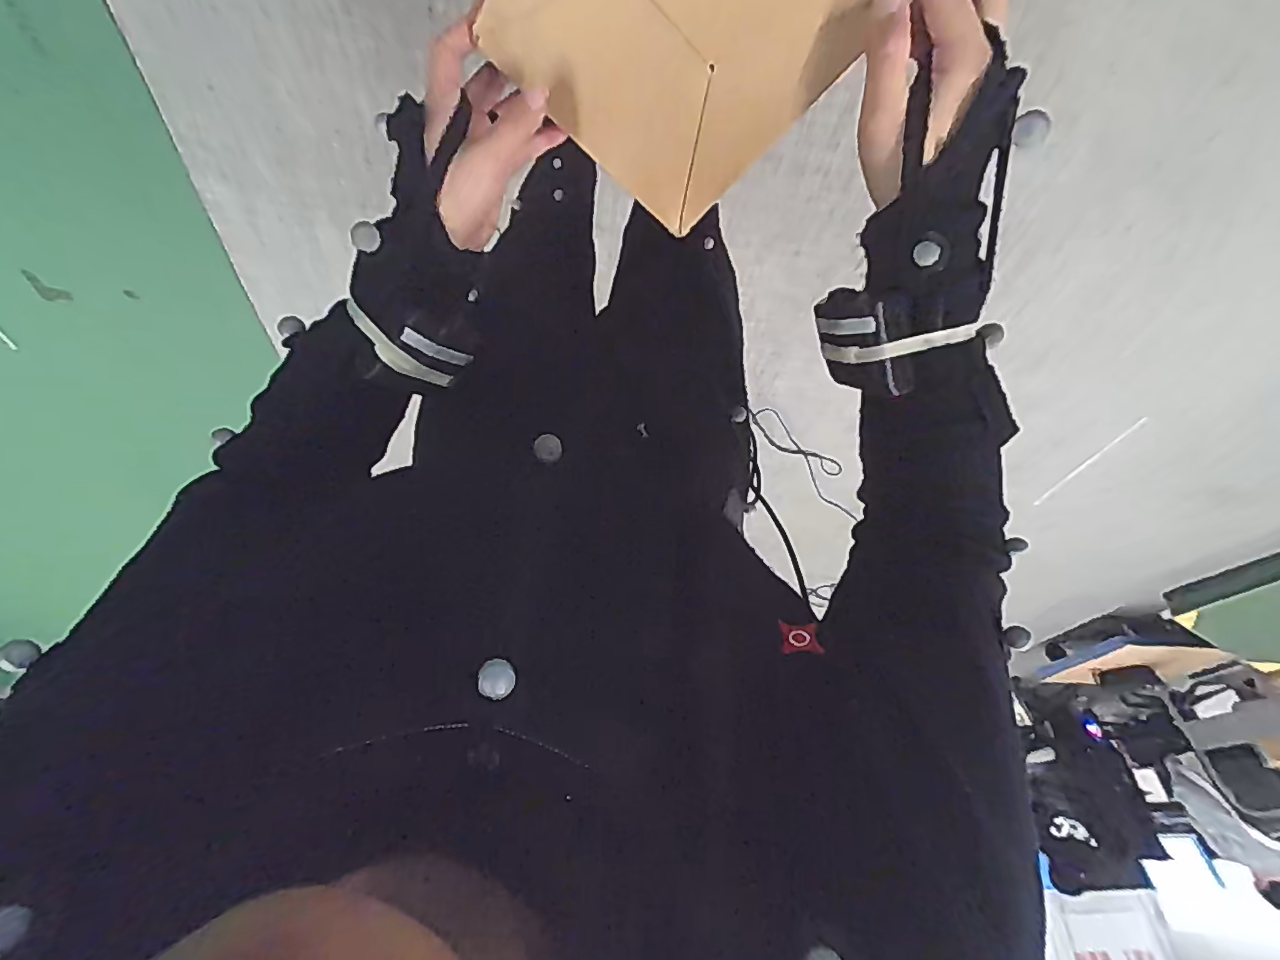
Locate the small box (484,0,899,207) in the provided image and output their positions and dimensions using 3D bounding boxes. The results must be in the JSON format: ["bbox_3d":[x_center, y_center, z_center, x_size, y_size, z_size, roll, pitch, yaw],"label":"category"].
[{"bbox_3d":[0.034,-0.301,0.324,0.168,0.176,0.179,35,143,-23],"label":"small box"}]
